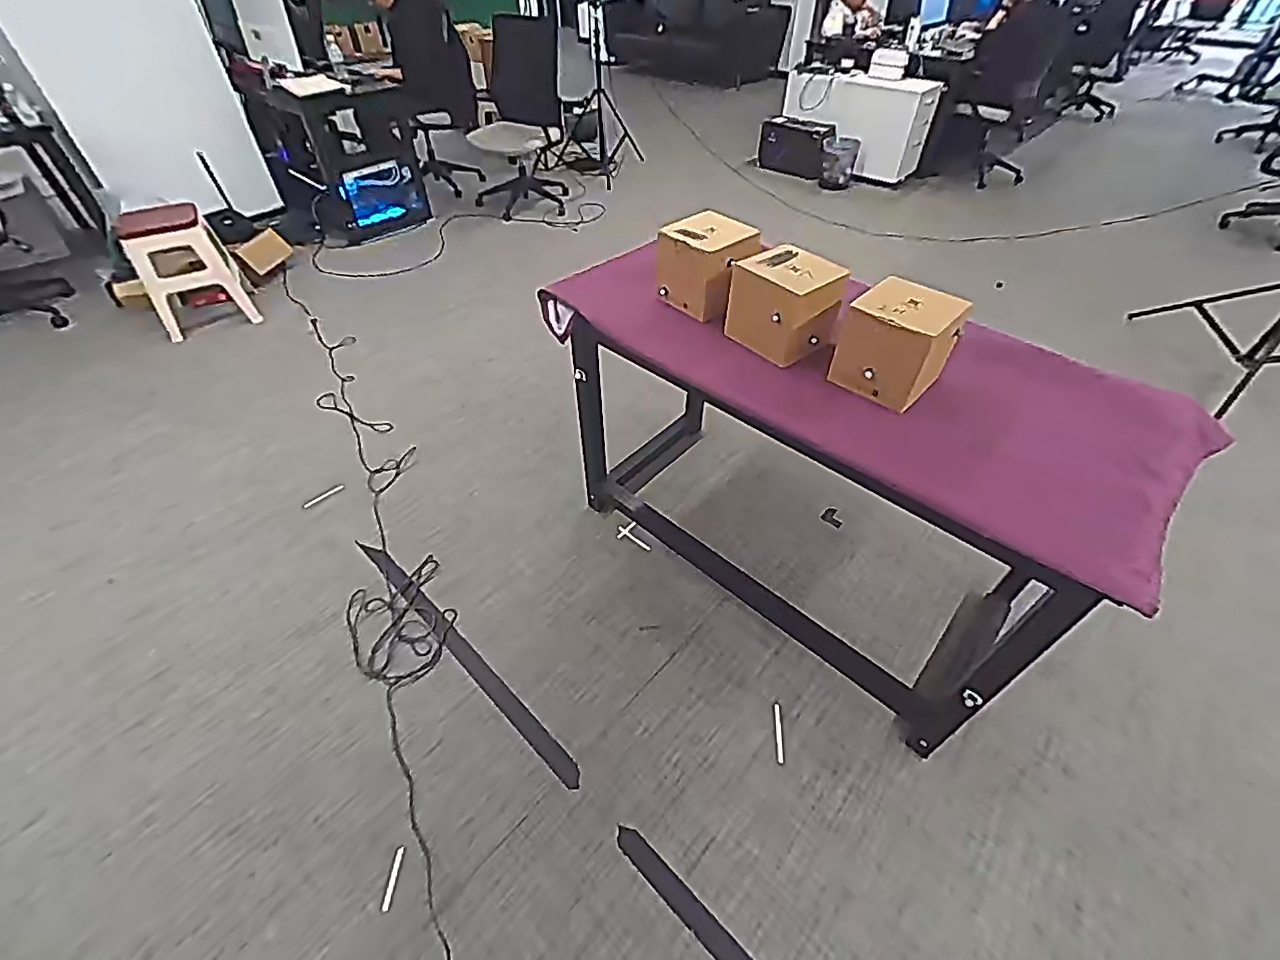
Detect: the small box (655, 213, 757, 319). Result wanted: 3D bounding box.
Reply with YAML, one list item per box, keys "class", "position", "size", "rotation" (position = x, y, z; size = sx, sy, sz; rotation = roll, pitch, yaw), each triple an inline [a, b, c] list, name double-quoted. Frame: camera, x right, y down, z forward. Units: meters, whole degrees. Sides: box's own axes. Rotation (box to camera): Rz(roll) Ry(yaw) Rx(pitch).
- class: "small box"
  position: [0.154, -0.510, 1.294]
  size: [0.179, 0.176, 0.168]
  rotation: [-33, 55, -27]

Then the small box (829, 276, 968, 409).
- class: "small box"
  position: [0.499, -0.271, 1.065]
  size: [0.168, 0.176, 0.179]
  rotation: [34, 55, 29]
